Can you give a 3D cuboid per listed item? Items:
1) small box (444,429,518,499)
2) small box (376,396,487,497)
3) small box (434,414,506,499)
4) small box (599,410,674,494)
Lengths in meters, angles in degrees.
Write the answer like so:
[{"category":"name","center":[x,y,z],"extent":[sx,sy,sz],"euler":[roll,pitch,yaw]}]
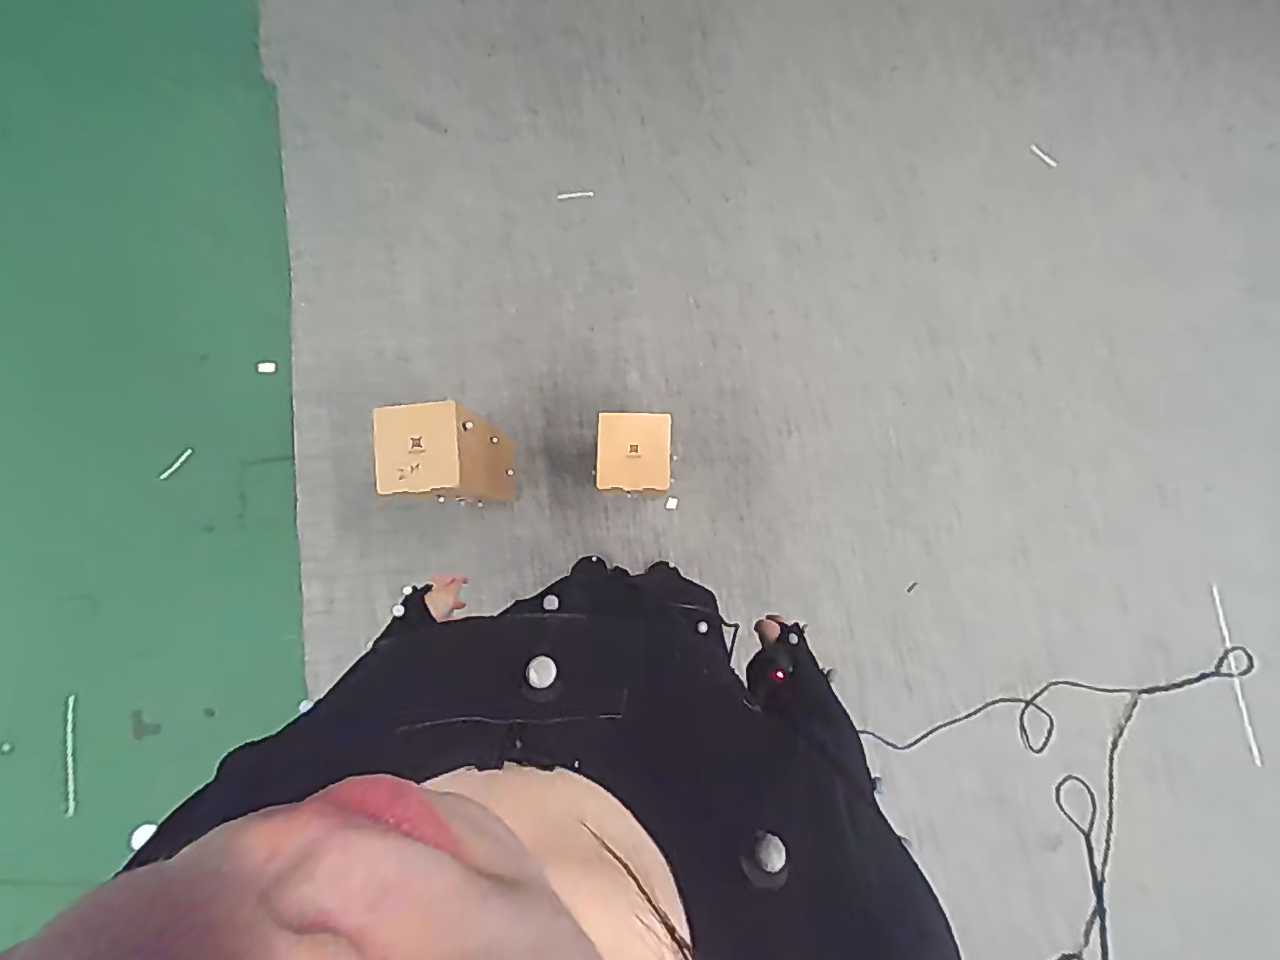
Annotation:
[{"category":"small box","center":[-0.427,-0.037,1.452],"extent":[0.168,0.176,0.179],"euler":[-2,85,1]},{"category":"small box","center":[-0.426,-0.064,1.126],"extent":[0.168,0.176,0.179],"euler":[-5,84,2]},{"category":"small box","center":[-0.426,-0.051,1.290],"extent":[0.168,0.176,0.179],"euler":[-5,85,1]},{"category":"small box","center":[-0.008,-0.062,1.286],"extent":[0.168,0.176,0.179],"euler":[2,85,1]}]
